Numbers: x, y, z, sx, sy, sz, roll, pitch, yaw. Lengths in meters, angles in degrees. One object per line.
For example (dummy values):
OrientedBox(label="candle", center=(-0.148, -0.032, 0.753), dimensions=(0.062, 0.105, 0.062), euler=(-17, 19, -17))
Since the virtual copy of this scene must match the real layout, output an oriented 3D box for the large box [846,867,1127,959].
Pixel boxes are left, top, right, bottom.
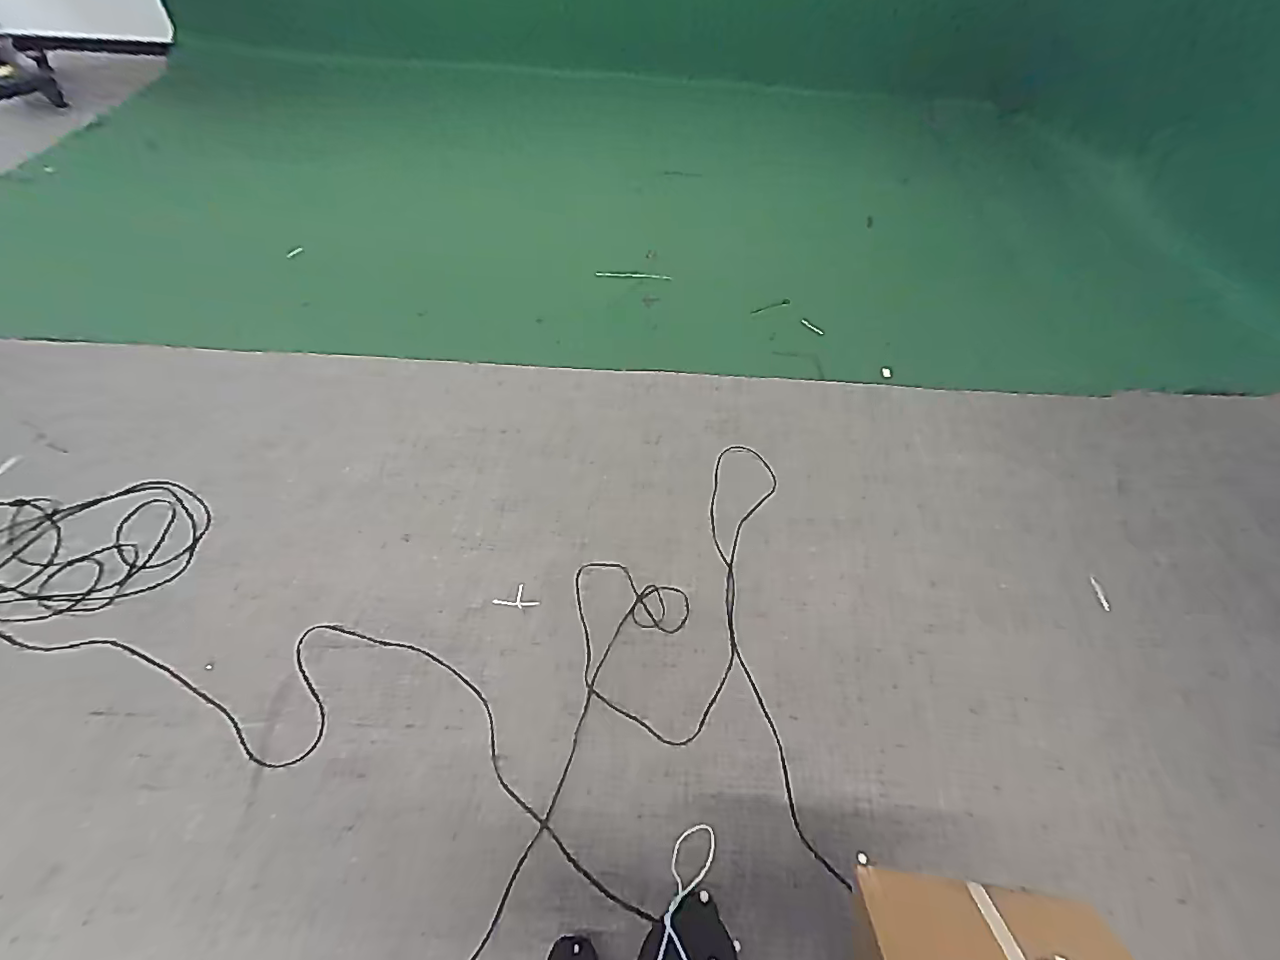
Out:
OrientedBox(label="large box", center=(0.427, 0.740, 0.587), dimensions=(0.320, 0.408, 0.320), euler=(6, 96, 8))
